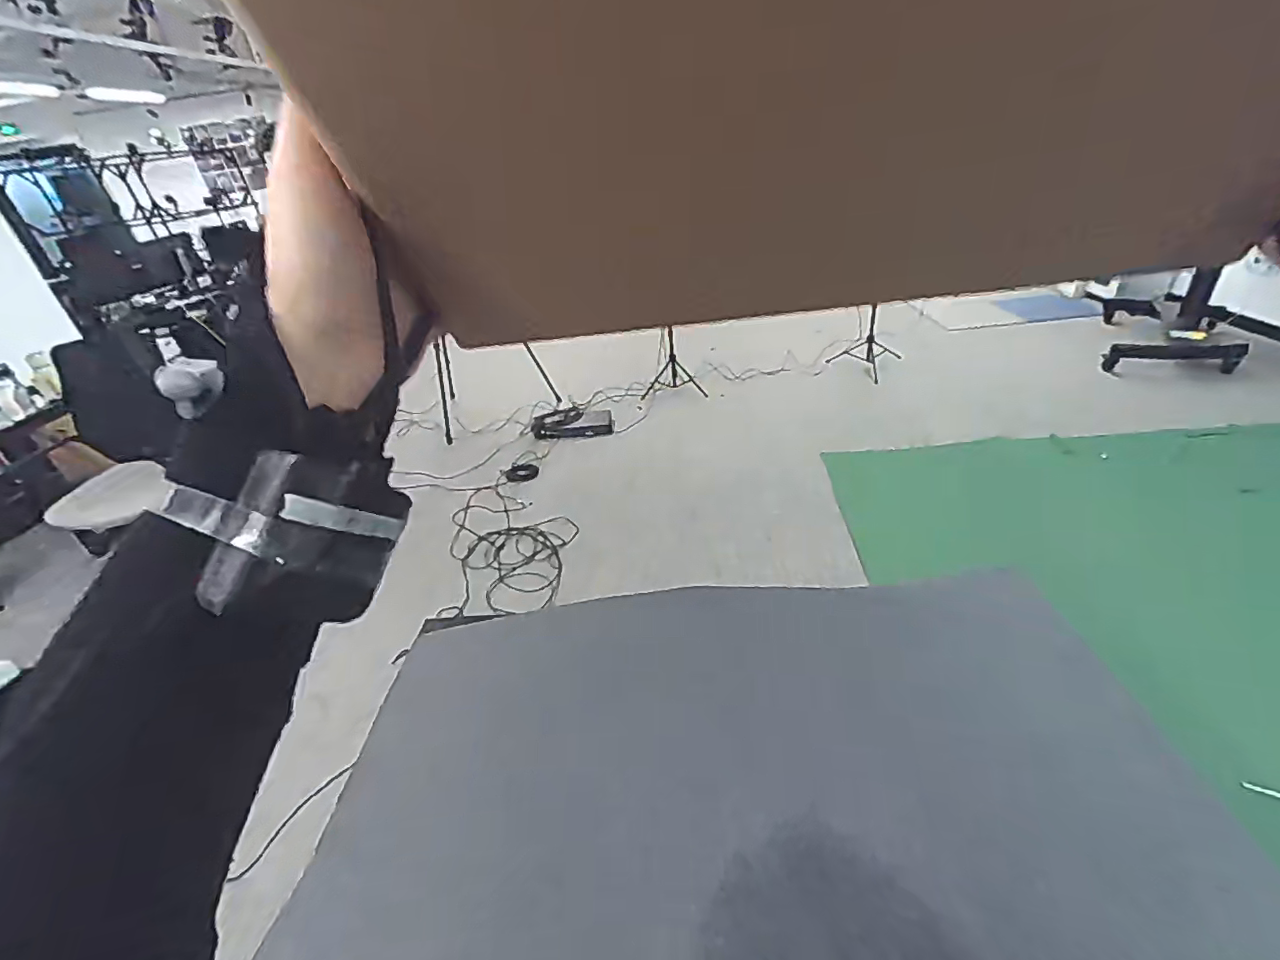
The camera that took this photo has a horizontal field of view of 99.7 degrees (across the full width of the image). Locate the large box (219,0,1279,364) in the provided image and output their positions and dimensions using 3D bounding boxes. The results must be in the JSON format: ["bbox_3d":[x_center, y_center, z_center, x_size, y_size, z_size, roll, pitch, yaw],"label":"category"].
[{"bbox_3d":[0.064,-0.282,0.233,0.408,0.320,0.320,-5,66,5],"label":"large box"}]
